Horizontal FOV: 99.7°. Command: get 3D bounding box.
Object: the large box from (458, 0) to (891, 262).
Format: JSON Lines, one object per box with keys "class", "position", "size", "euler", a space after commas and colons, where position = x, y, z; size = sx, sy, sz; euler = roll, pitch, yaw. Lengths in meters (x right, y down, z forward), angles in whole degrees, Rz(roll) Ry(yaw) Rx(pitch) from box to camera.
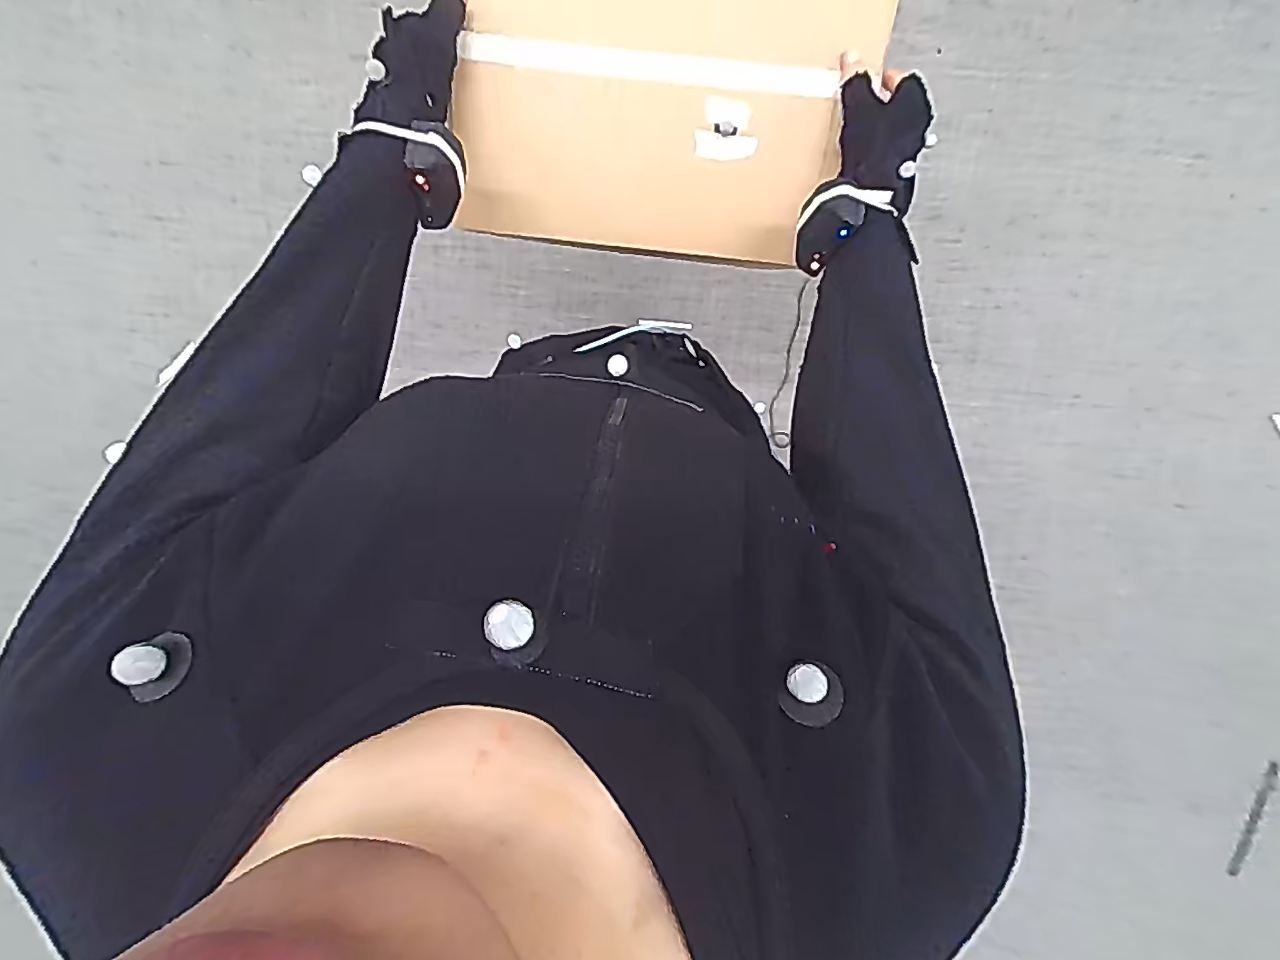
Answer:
{"class": "large box", "position": [0.028, -0.446, 0.653], "size": [0.408, 0.320, 0.320], "euler": [6, 112, -1]}
